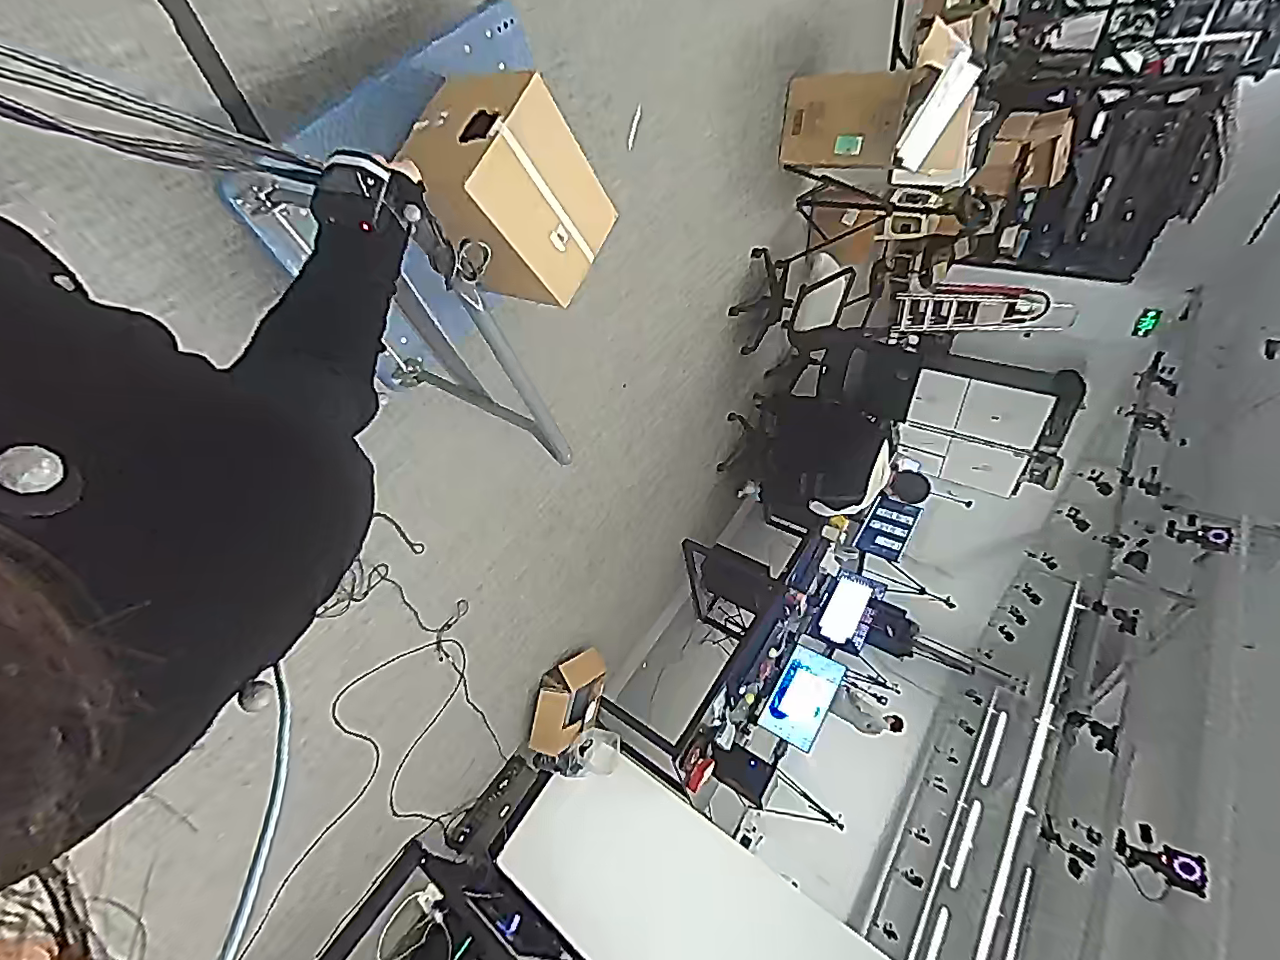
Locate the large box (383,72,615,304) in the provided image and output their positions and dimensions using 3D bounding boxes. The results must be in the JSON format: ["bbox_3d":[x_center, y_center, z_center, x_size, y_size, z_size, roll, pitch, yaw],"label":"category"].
[{"bbox_3d":[-0.332,-0.706,1.349,0.320,0.320,0.408,-63,150,-8],"label":"large box"}]
